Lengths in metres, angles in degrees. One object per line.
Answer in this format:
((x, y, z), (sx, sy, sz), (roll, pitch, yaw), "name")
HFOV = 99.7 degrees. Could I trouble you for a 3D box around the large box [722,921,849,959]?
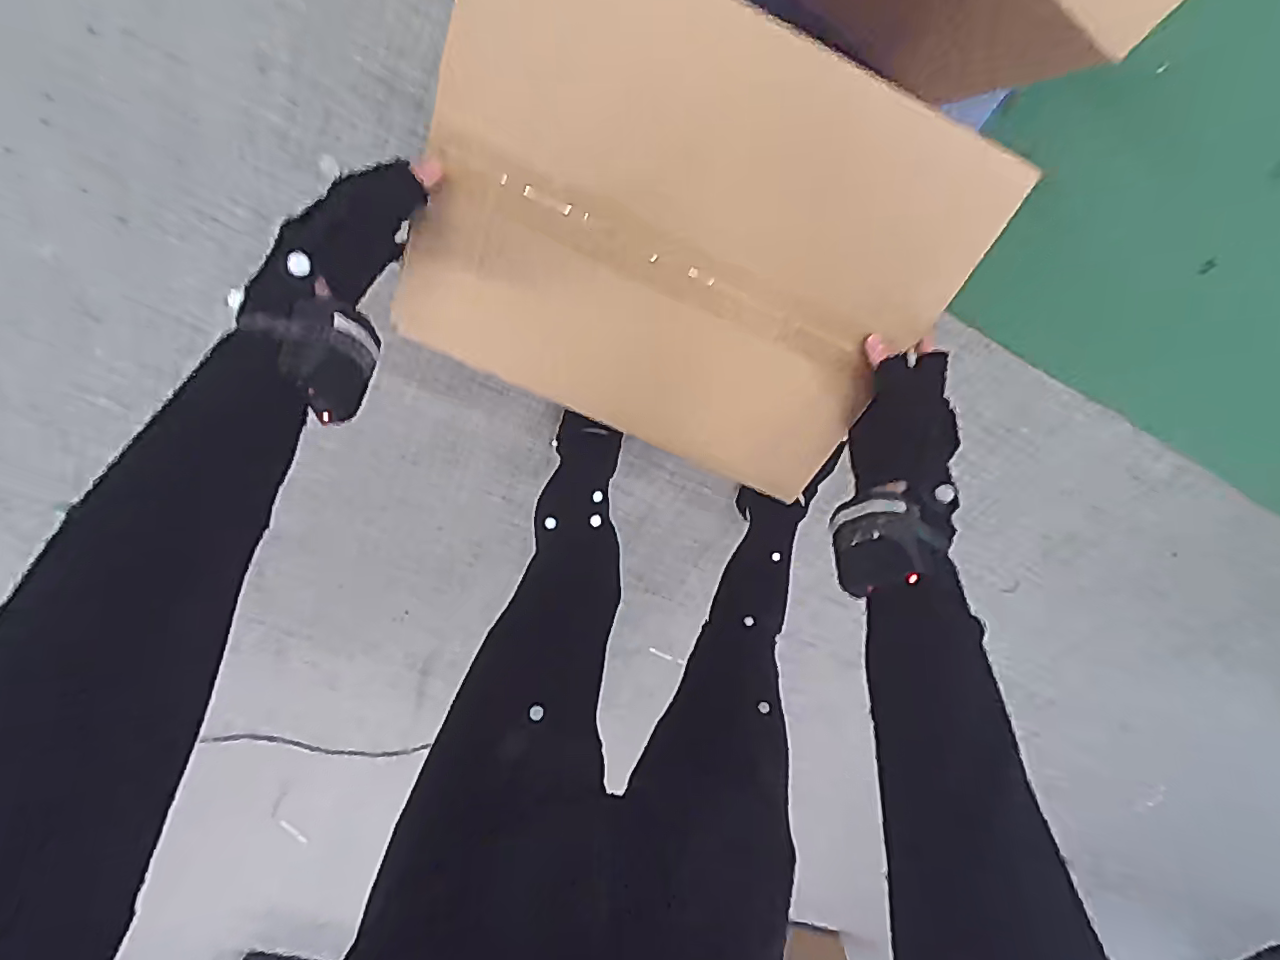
((0.575, 1.944, 2.044), (0.408, 0.320, 0.320), (24, 116, -15), "large box")
